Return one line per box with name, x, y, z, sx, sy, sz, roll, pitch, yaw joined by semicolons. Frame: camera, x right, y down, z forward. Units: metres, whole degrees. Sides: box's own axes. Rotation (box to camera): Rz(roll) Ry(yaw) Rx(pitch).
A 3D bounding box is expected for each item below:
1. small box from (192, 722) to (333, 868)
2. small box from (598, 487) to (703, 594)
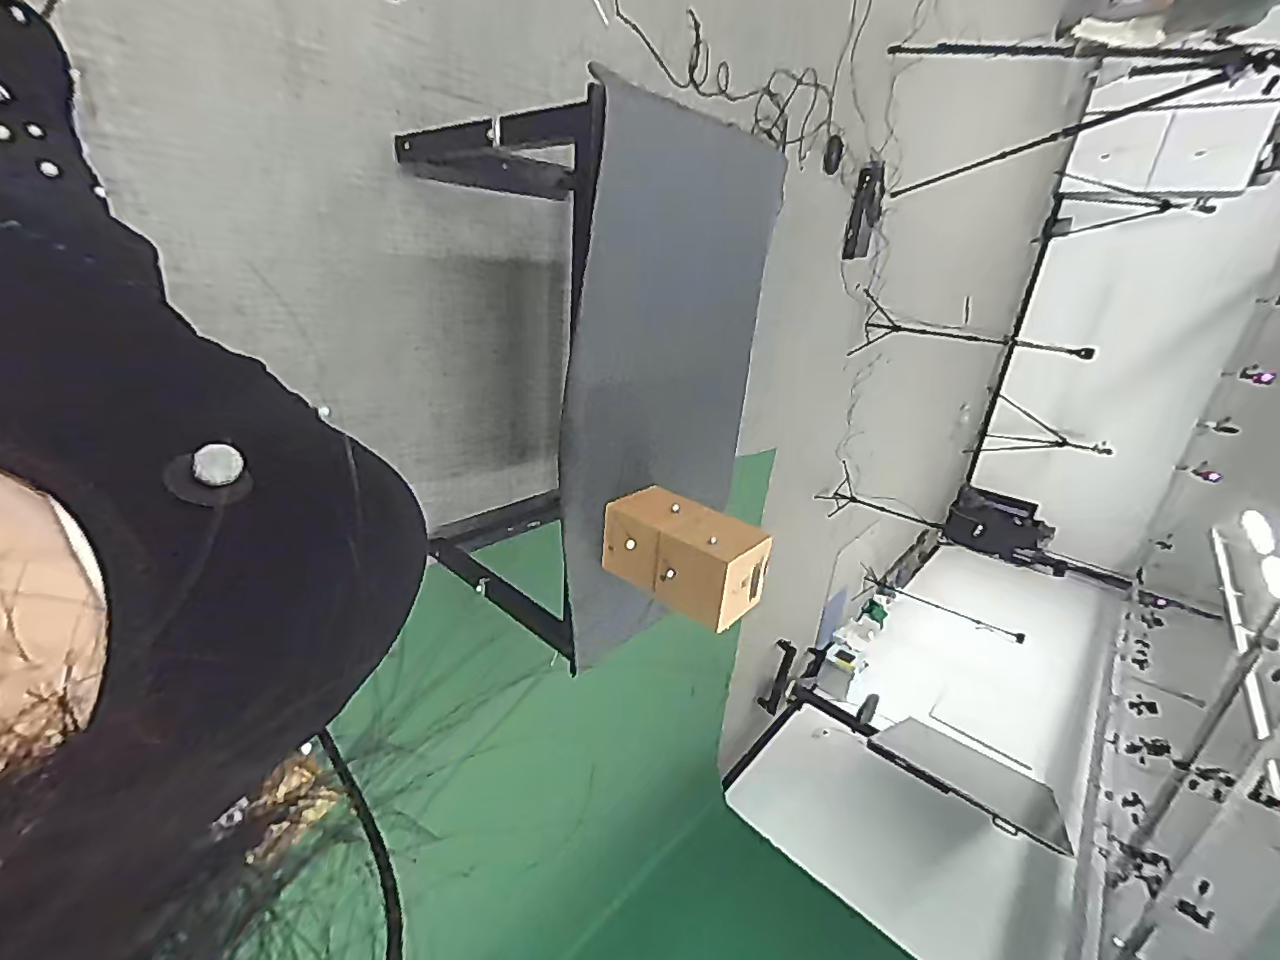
small box;-0.810;0.666;1.155;0.179;0.176;0.168;-42;135;-31
small box;0.020;0.130;1.240;0.179;0.176;0.168;-20;123;-47
